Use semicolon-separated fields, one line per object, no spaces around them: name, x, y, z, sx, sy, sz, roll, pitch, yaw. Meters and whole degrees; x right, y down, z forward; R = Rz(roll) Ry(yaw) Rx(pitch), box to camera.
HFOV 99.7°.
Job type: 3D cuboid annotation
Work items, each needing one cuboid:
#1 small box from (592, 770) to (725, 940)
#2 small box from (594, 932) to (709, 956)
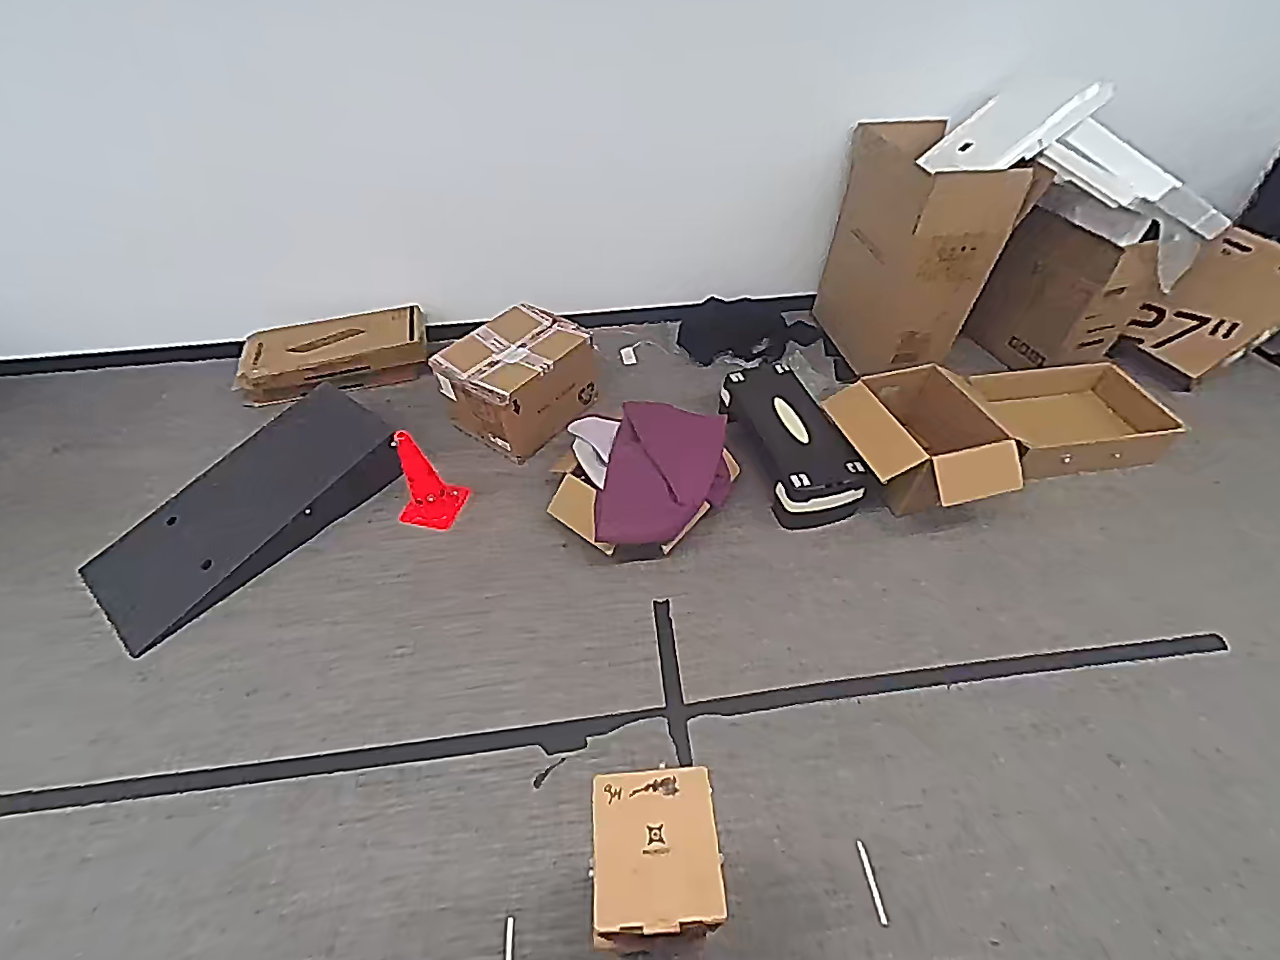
small box;0.023;0.529;0.763;0.168;0.176;0.179;-4;48;-1
small box;0.018;0.651;0.874;0.168;0.176;0.179;-2;49;1
